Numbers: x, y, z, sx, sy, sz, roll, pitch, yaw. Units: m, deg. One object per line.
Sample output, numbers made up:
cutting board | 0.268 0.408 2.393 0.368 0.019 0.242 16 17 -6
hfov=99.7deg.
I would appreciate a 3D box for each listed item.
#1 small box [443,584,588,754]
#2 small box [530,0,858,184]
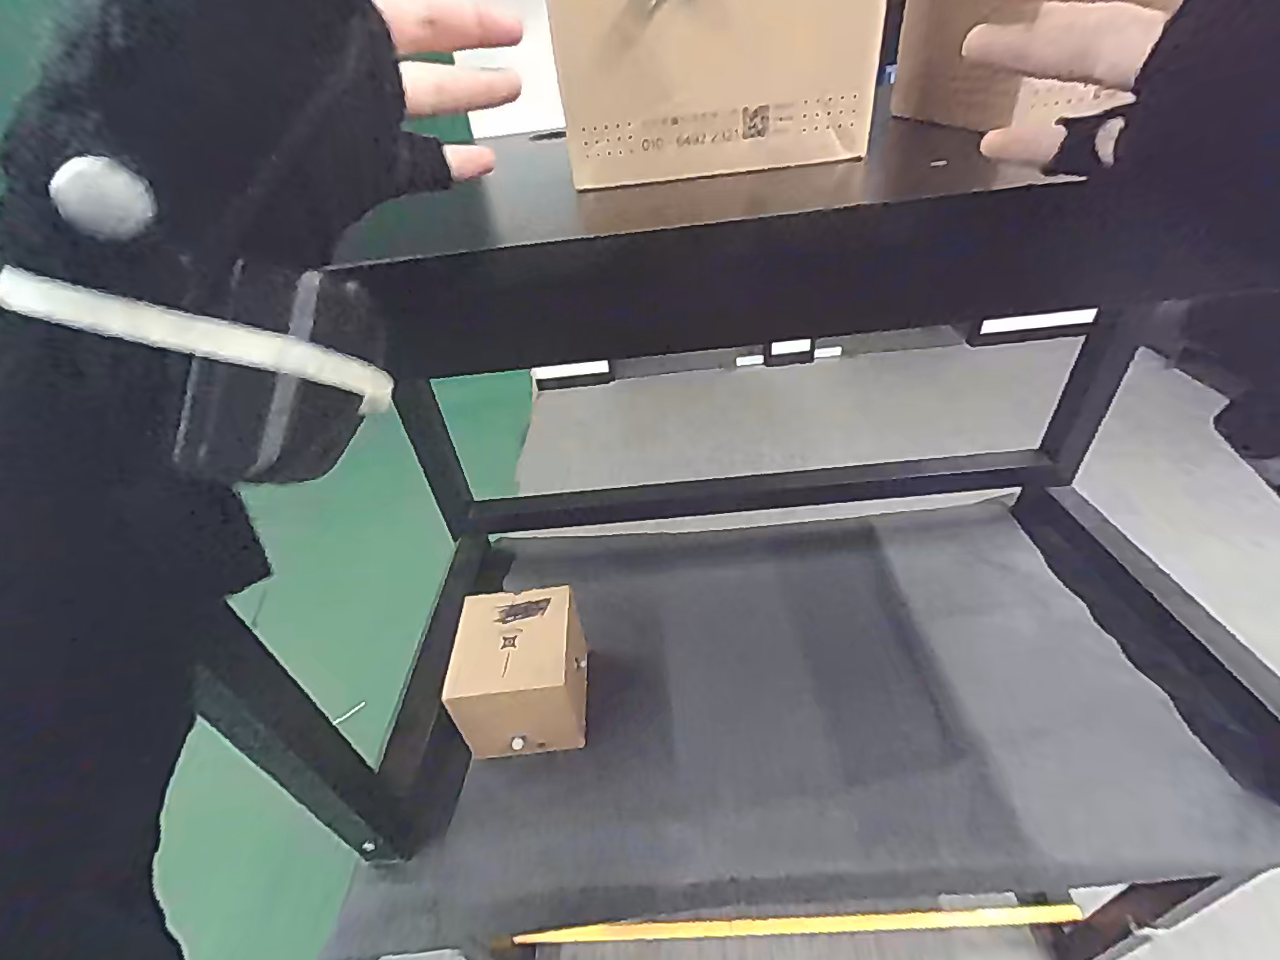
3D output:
small box | -0.175 0.285 0.822 0.168 0.176 0.179 -7 38 2
small box | 0.030 -0.288 0.325 0.168 0.176 0.179 -4 37 6
